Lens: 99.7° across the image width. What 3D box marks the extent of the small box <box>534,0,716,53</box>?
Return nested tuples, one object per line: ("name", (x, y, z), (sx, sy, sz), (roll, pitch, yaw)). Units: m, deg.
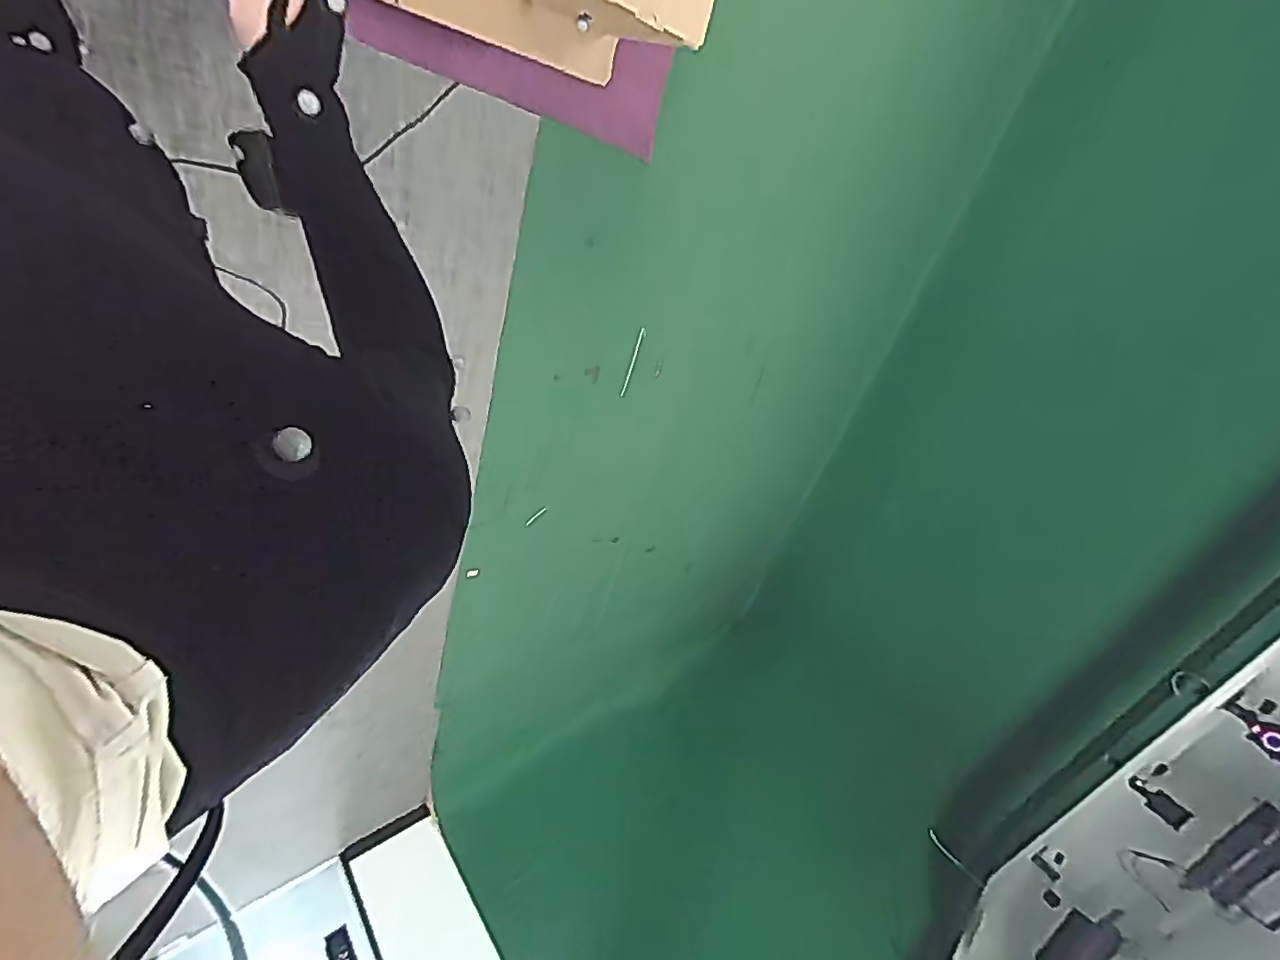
("small box", (-0.019, -0.580, 0.553), (0.168, 0.176, 0.179), (-16, 135, -44))
